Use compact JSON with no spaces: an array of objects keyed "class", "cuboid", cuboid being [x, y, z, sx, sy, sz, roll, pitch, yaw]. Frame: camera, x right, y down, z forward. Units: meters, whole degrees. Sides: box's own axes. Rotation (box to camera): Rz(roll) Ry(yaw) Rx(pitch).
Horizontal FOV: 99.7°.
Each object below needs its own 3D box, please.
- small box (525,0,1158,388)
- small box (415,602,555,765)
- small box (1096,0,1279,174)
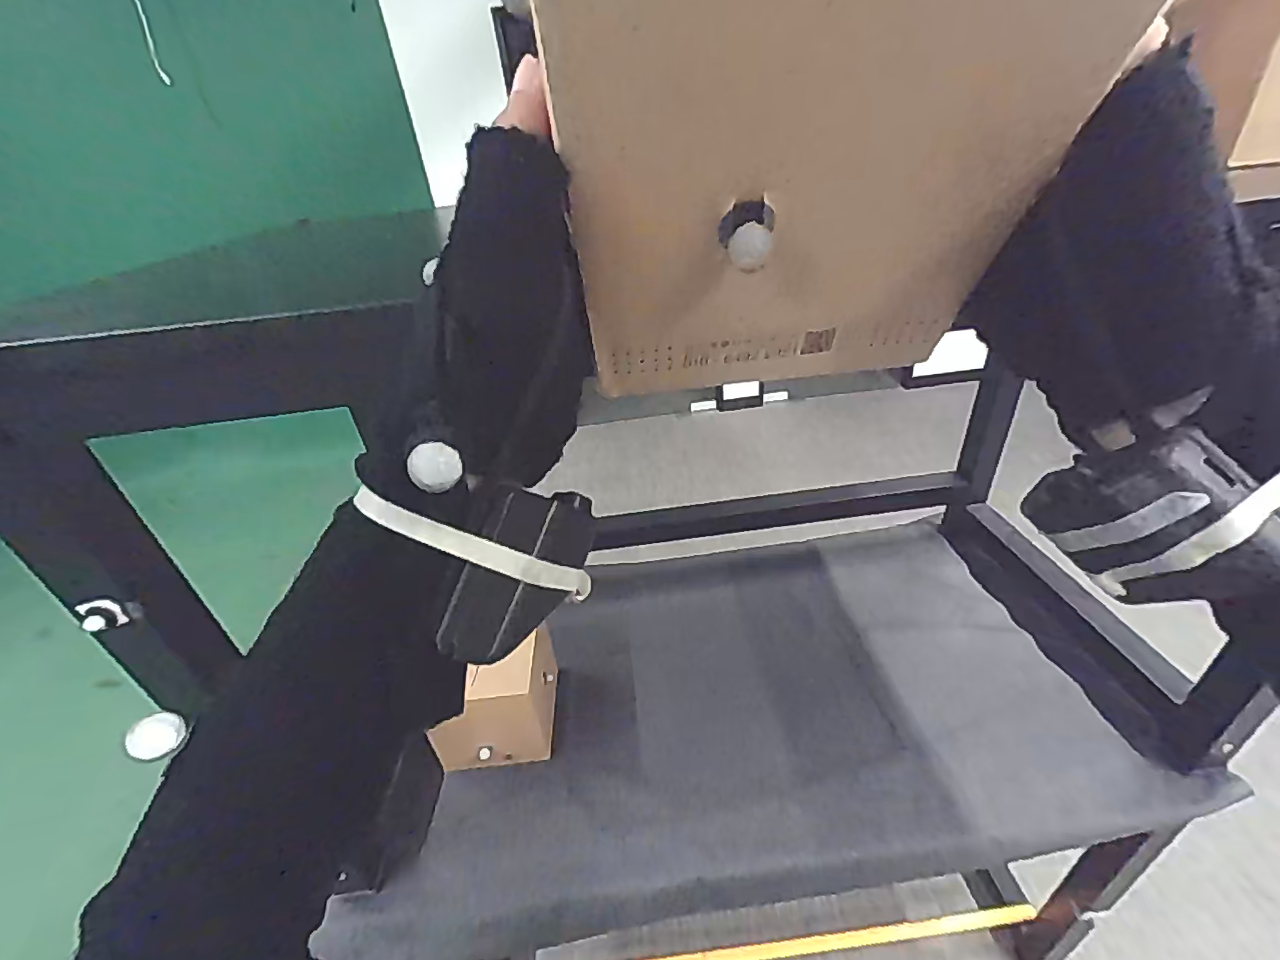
[{"class":"small box","cuboid":[0.050,-0.155,0.237,0.168,0.176,0.179,-6,63,-1]},{"class":"small box","cuboid":[-0.233,0.324,0.869,0.168,0.176,0.179,-6,33,0]},{"class":"small box","cuboid":[0.519,-0.345,0.425,0.168,0.176,0.179,-1,33,8]}]
